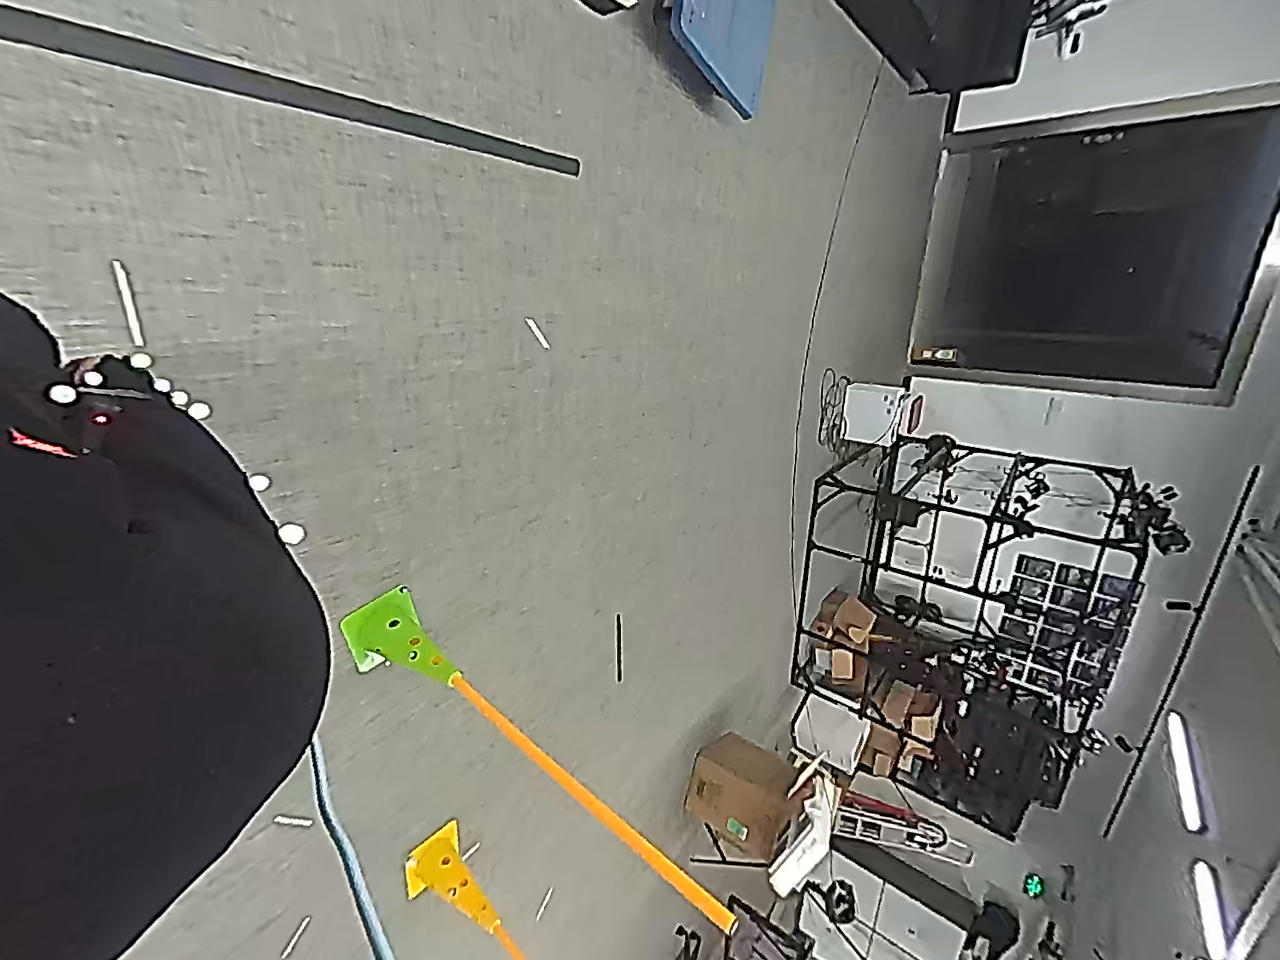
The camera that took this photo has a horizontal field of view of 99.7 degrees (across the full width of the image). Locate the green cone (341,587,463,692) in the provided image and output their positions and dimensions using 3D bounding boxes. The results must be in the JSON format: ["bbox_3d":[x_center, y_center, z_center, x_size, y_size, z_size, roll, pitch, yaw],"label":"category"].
[{"bbox_3d":[-0.607,0.471,1.458,0.200,0.368,0.202,-34,130,-43],"label":"green cone"}]
